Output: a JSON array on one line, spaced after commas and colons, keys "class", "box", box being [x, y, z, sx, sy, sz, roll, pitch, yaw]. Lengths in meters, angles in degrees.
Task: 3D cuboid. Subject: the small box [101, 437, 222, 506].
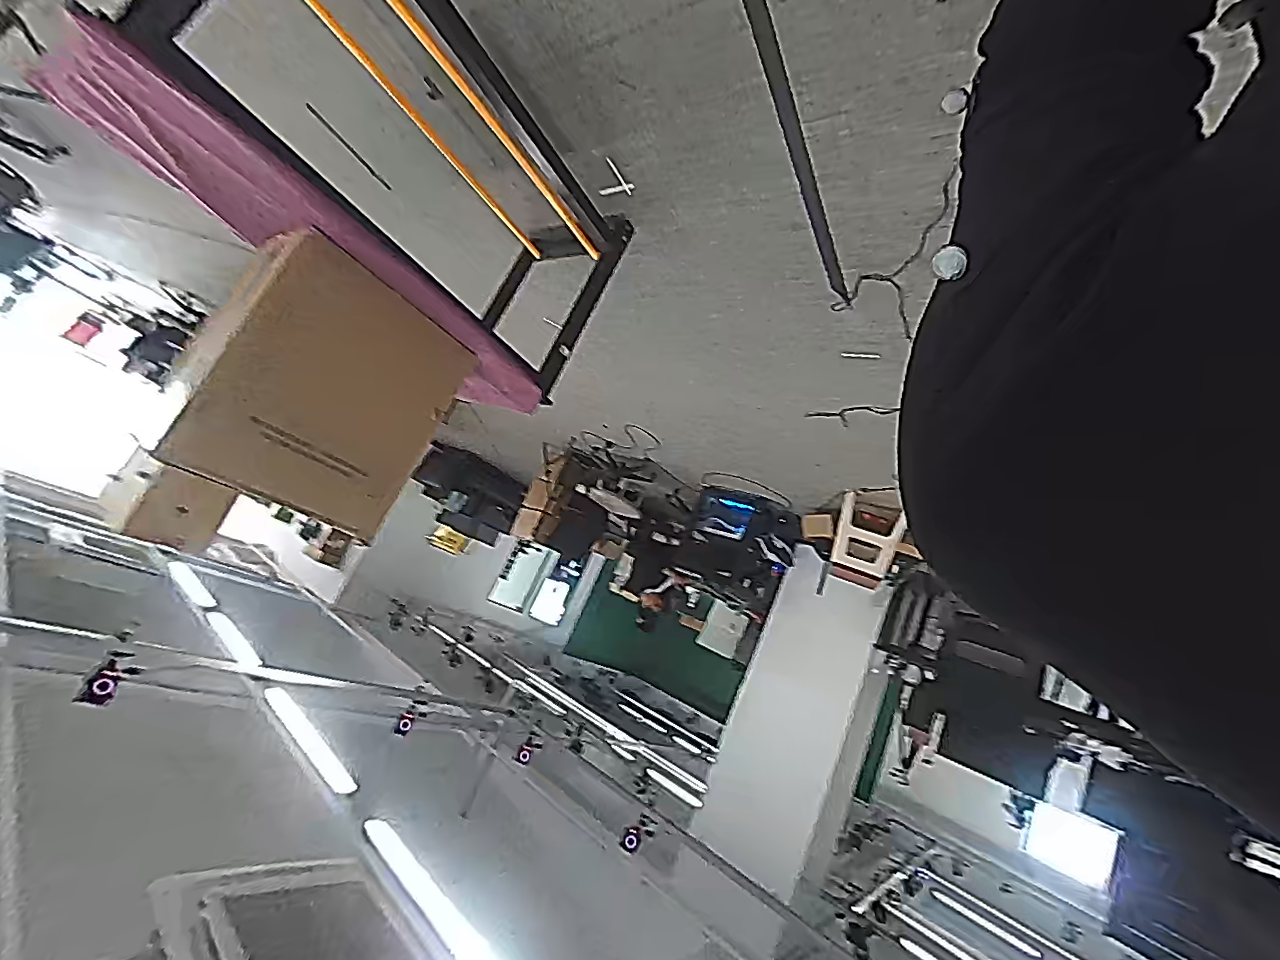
[{"class": "small box", "box": [-1.211, 0.005, 1.377, 0.179, 0.176, 0.168, 14, 164, 38]}]

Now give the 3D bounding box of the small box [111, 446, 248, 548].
[{"class": "small box", "box": [-1.053, 0.043, 1.237, 0.179, 0.176, 0.168, 14, 163, 38]}]
